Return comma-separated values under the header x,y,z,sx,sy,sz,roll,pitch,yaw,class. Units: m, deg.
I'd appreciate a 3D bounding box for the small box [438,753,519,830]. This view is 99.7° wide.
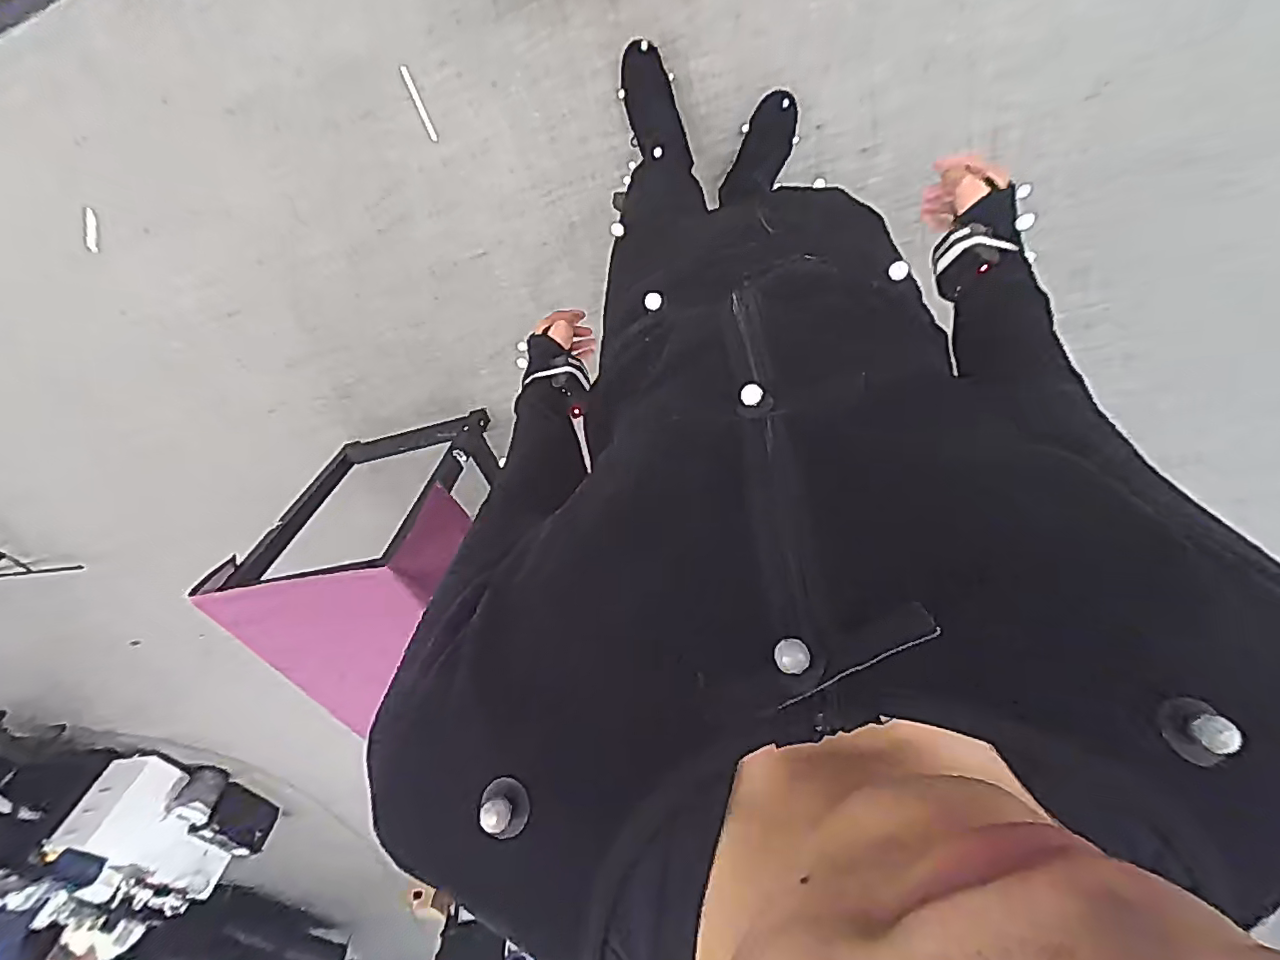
x,y,z,sx,sy,sz,roll,pitch,yaw,class
-0.515,1.012,1.765,0.179,0.176,0.168,-21,123,22,small box
